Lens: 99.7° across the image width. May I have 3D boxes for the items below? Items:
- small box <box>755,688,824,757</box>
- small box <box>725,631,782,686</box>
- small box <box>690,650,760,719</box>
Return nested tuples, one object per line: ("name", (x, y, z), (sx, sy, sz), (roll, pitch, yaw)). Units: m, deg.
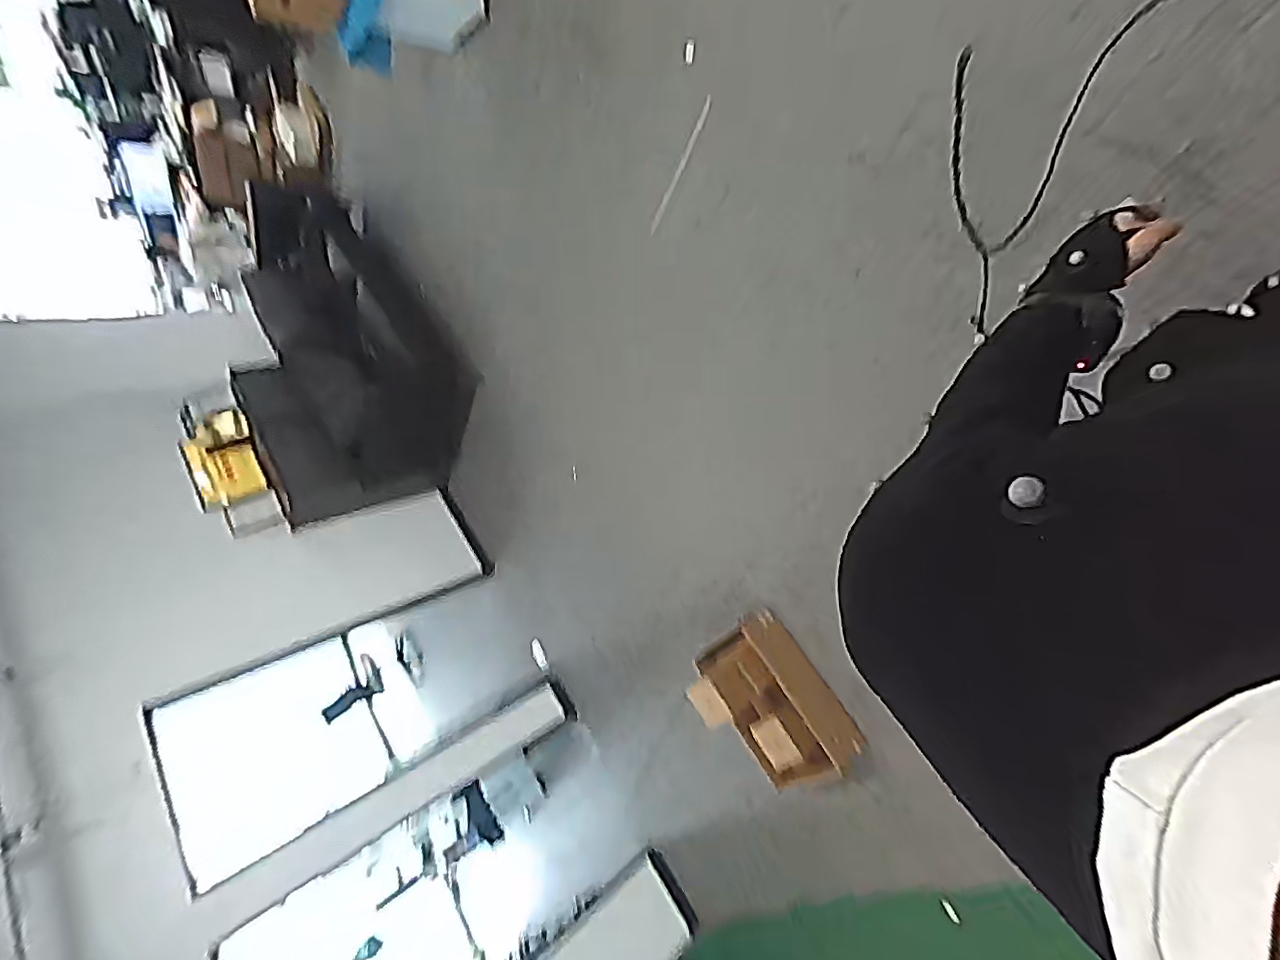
("small box", (0.592, 0.944, 2.113), (0.168, 0.176, 0.179), (54, 137, 19))
("small box", (0.449, 0.741, 2.195), (0.168, 0.176, 0.179), (53, 137, 18))
("small box", (0.331, 0.788, 2.091), (0.168, 0.176, 0.179), (54, 137, 15))
